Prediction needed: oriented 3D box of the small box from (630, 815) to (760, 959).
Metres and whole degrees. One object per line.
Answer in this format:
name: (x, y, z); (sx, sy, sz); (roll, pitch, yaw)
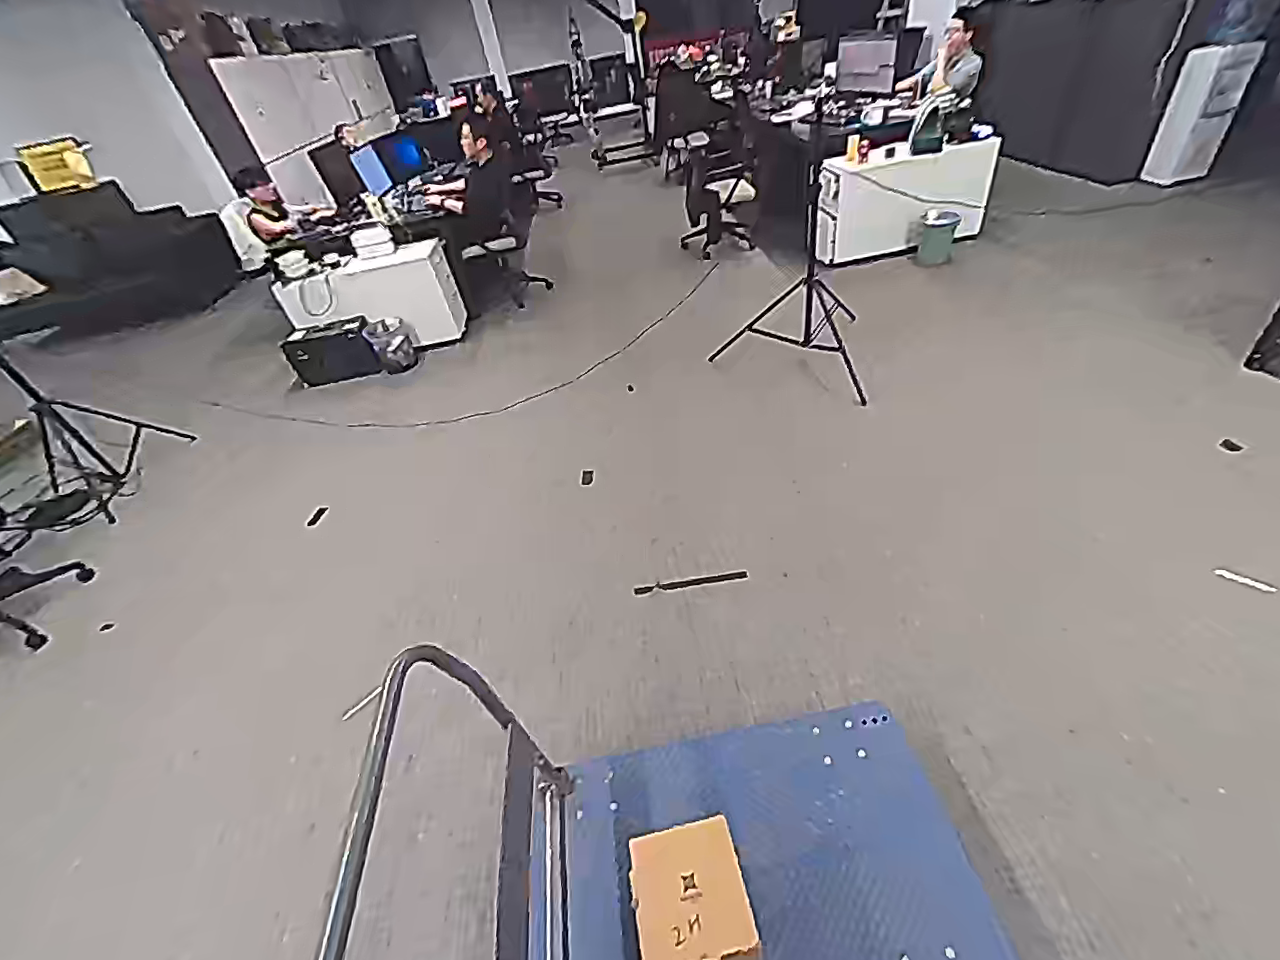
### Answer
small box: (0.086, 0.684, 0.875); (0.168, 0.176, 0.179); (-14, 41, -2)
